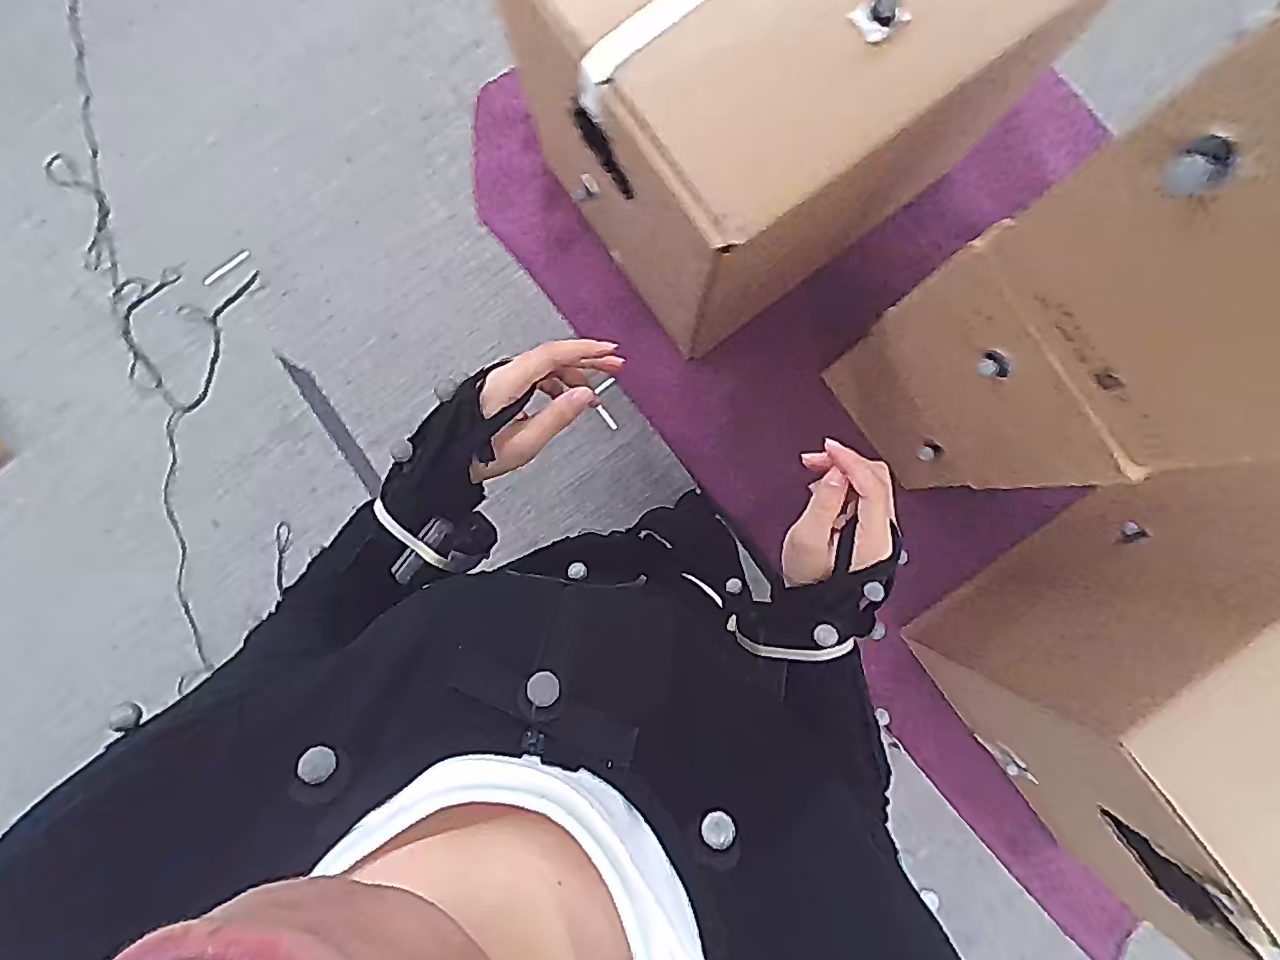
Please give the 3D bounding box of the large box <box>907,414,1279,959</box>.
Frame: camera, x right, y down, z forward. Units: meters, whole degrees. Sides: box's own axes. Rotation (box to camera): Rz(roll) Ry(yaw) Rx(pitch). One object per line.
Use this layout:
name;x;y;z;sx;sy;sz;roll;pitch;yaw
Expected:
large box;0.549;0.171;0.481;0.408;0.320;0.320;-36;87;-2
